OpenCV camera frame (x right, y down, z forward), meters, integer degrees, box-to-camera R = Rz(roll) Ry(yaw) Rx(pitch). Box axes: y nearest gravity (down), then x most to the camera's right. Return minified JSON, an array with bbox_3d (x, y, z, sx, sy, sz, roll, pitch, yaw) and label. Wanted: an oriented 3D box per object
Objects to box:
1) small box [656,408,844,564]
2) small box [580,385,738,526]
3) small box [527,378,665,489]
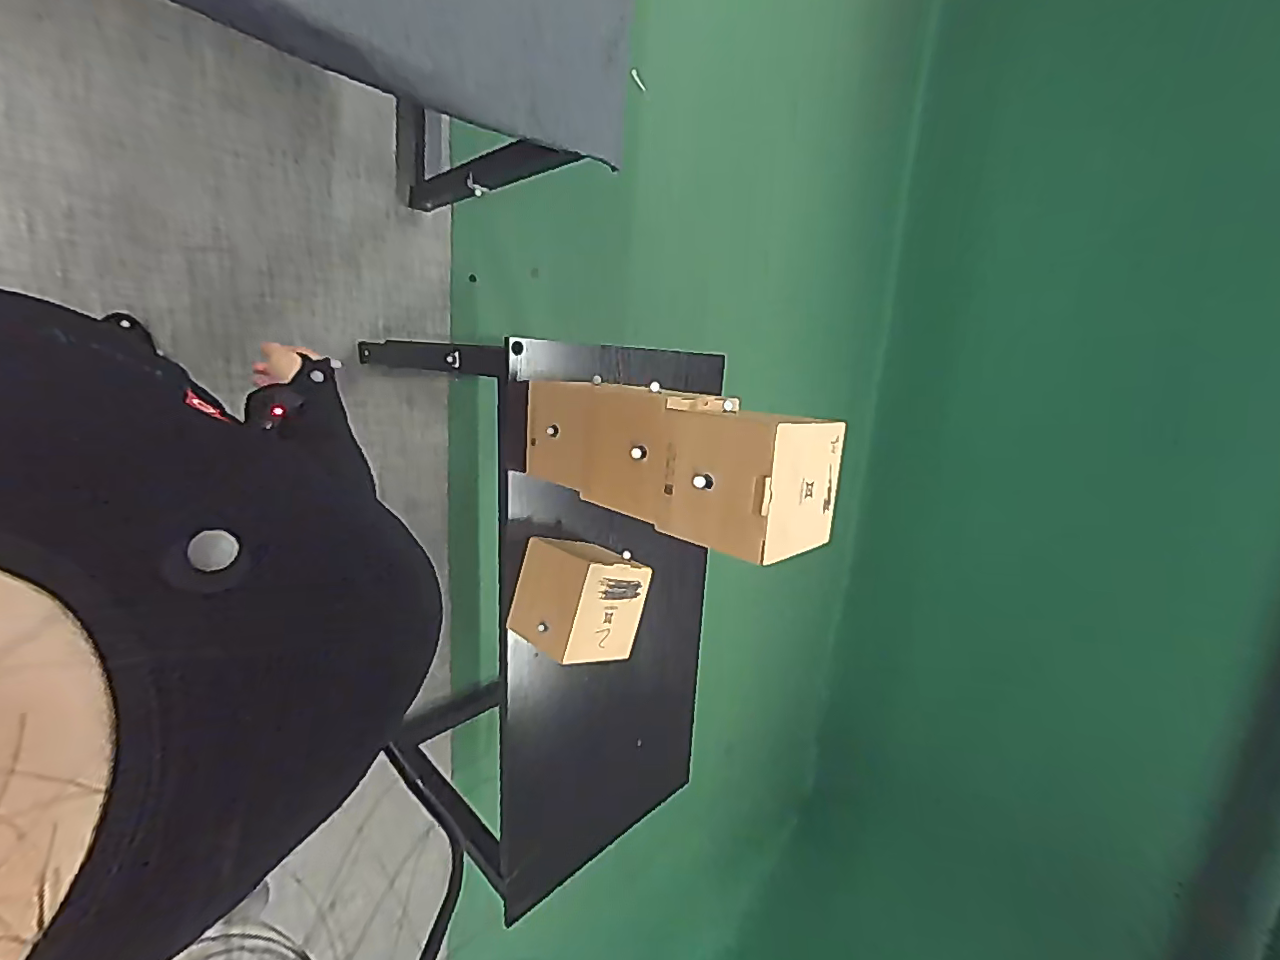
[{"bbox_3d":[0.139,-0.003,0.706,0.179,0.176,0.168,-6,105,-44],"label":"small box"},{"bbox_3d":[0.024,-0.046,0.816,0.168,0.176,0.179,-8,107,-45],"label":"small box"},{"bbox_3d":[-0.080,-0.086,0.935,0.179,0.176,0.168,-8,108,-45],"label":"small box"}]
